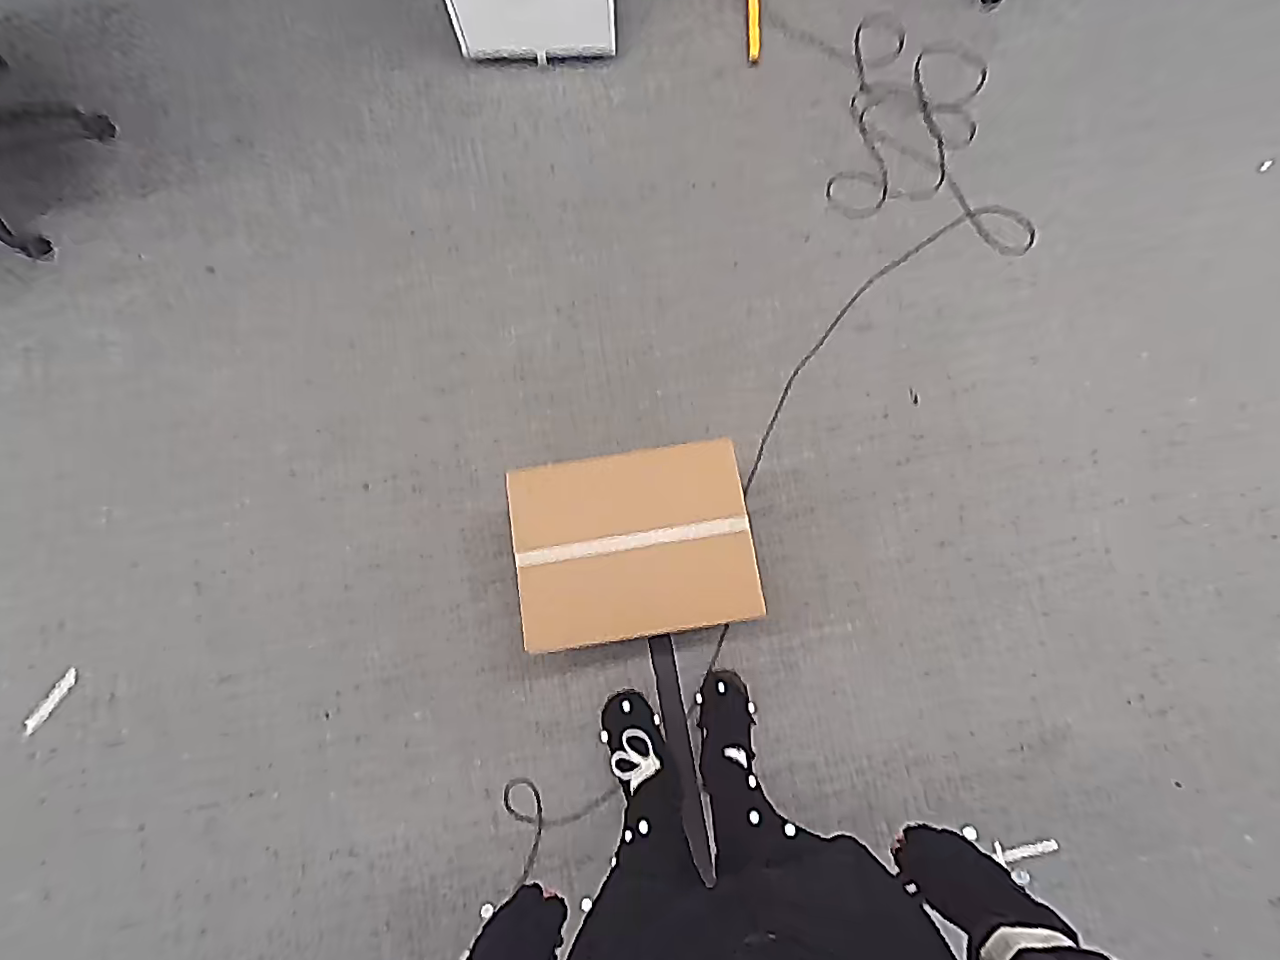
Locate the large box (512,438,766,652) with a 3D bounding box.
[{"bbox_3d":[-0.007,0.133,1.073,0.408,0.320,0.320,-9,81,-1],"label":"large box"}]
